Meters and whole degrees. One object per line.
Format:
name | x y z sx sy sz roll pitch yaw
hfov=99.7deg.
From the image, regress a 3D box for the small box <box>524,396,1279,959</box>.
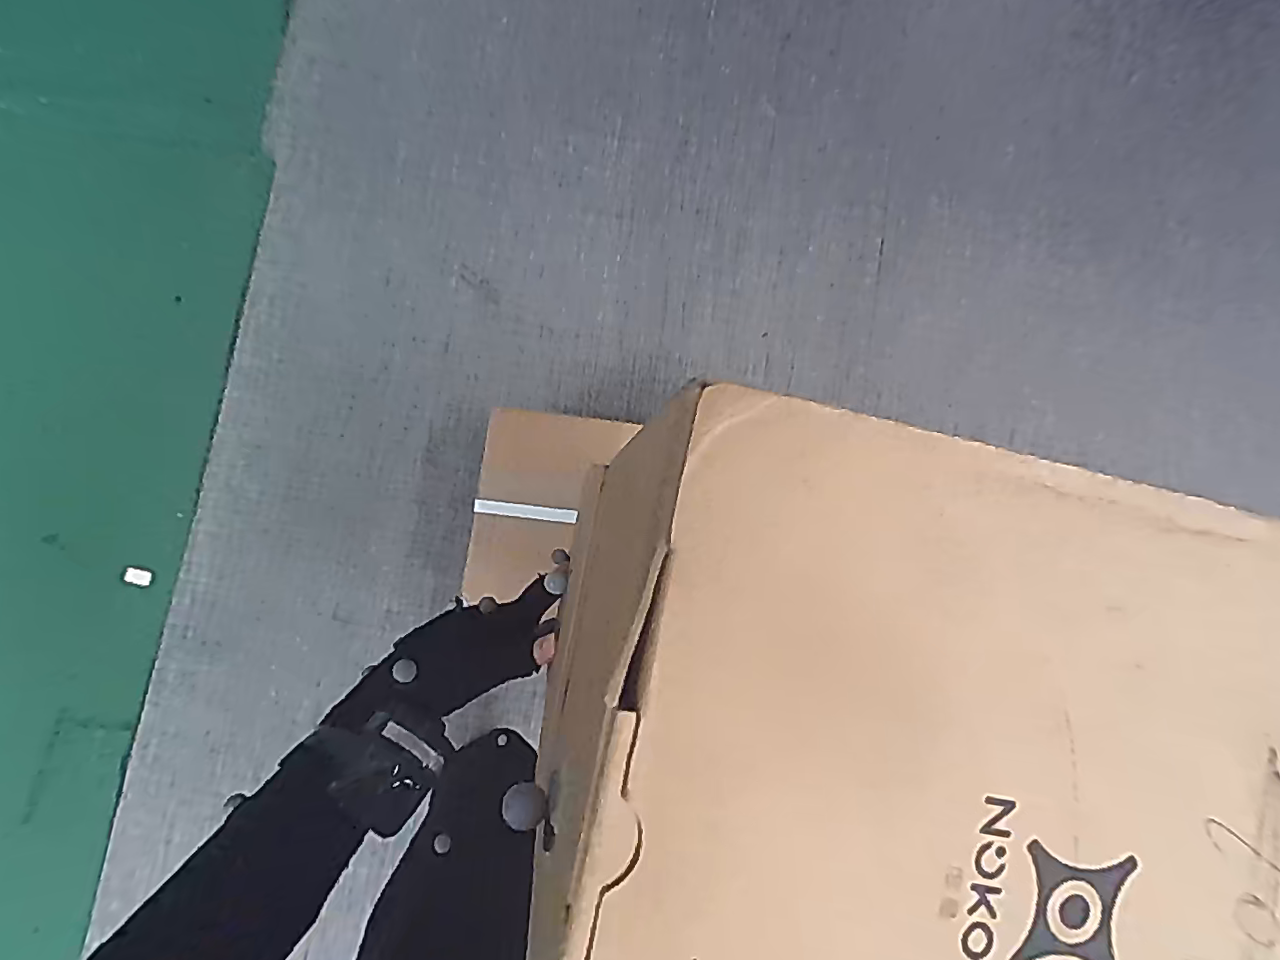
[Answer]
small box | 0.062 0.083 0.190 0.179 0.176 0.168 12 87 -8
